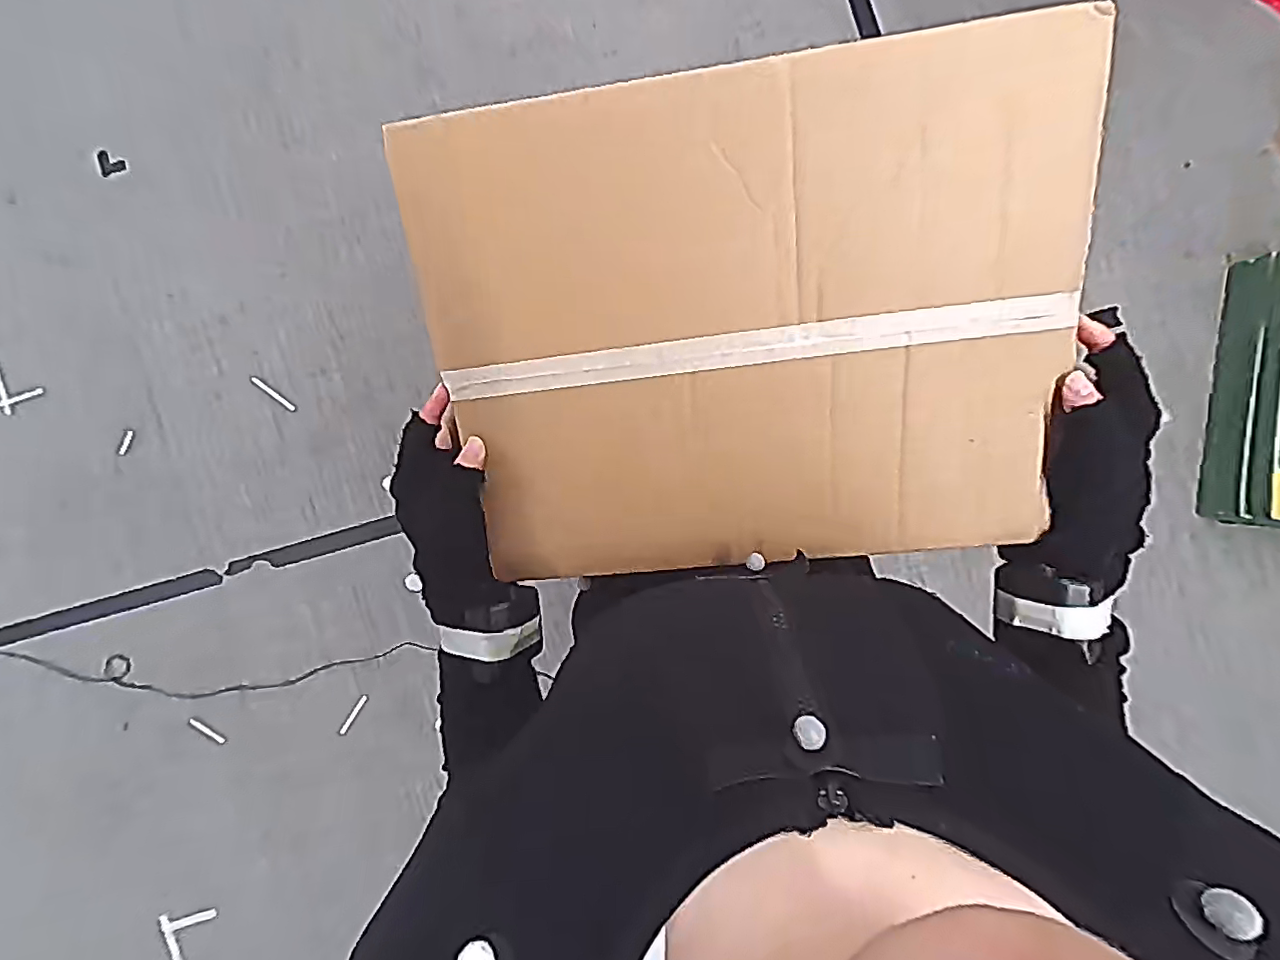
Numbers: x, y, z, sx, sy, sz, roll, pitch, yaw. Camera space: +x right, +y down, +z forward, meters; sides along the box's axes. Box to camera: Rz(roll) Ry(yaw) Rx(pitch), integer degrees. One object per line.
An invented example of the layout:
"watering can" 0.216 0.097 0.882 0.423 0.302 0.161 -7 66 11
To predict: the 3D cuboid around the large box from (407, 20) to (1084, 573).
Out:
"large box" 0.076 -0.136 0.503 0.408 0.320 0.320 -5 110 6
